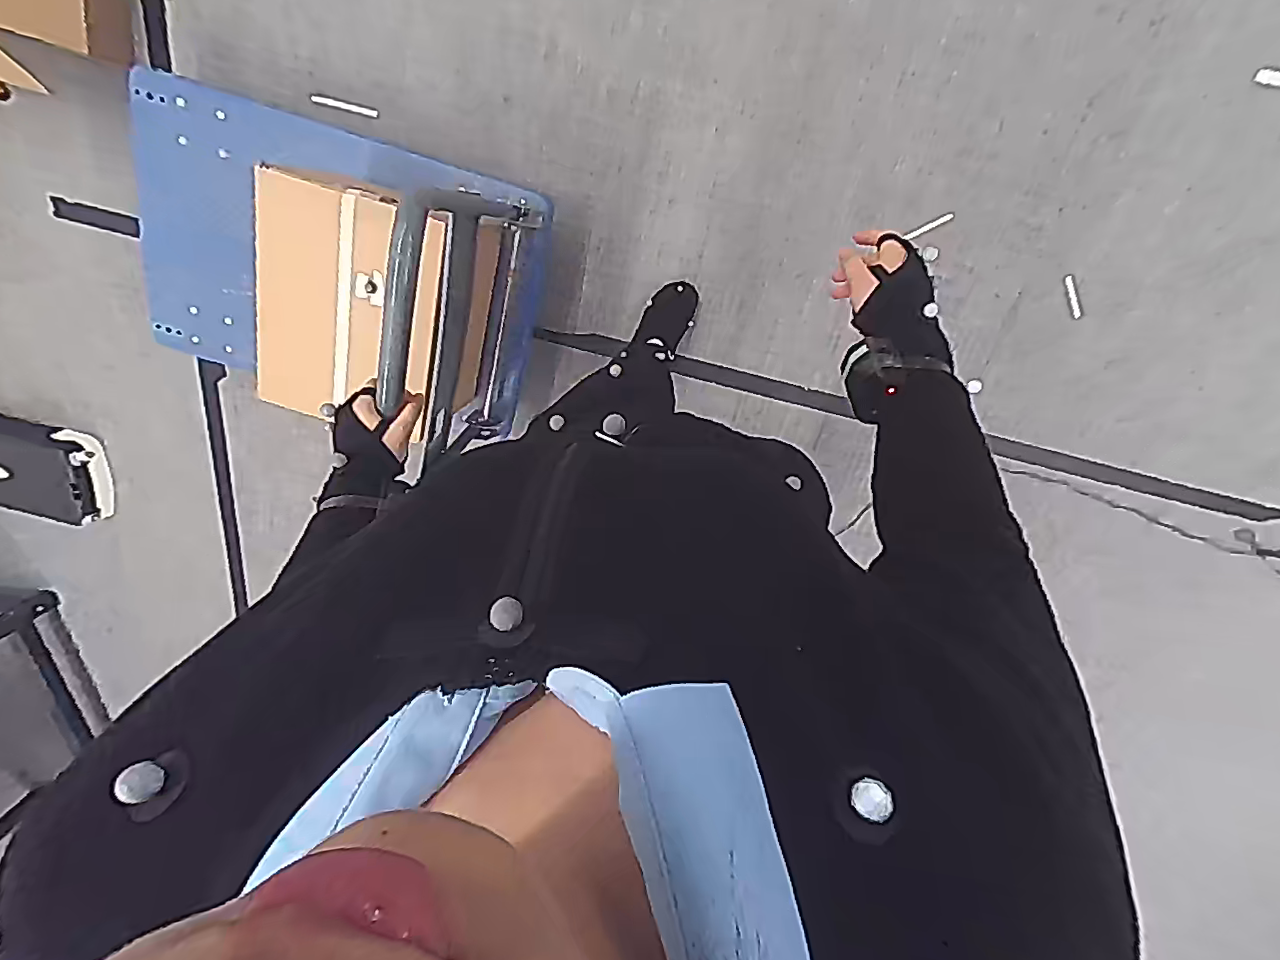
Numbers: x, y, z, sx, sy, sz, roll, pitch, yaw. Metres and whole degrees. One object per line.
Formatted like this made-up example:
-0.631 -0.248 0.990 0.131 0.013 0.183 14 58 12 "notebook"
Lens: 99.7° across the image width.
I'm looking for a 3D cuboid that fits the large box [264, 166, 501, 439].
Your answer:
-0.500 -0.348 1.089 0.320 0.320 0.408 16 113 -4 "large box"
